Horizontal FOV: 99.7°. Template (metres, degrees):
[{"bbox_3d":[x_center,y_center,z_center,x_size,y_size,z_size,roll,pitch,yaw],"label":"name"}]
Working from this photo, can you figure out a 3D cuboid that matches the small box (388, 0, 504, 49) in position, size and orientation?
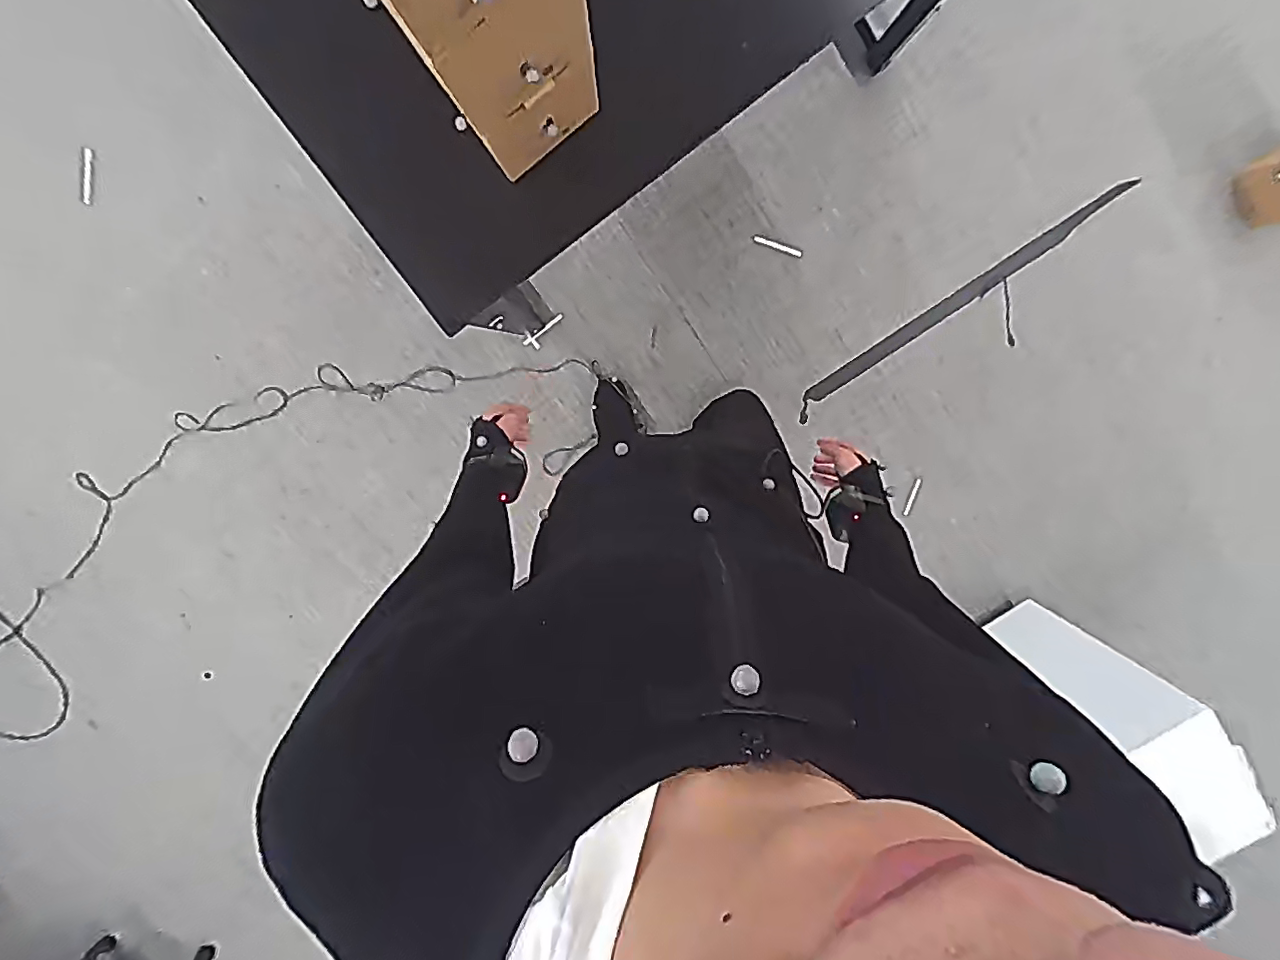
[{"bbox_3d":[-0.164,-0.461,0.367,0.168,0.176,0.179,-36,101,8],"label":"small box"}]

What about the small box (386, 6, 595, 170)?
[{"bbox_3d":[-0.171,-0.530,0.687,0.168,0.176,0.179,-37,101,7],"label":"small box"}]

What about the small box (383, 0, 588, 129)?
[{"bbox_3d":[-0.168,-0.496,0.525,0.168,0.176,0.179,-36,101,7],"label":"small box"}]
